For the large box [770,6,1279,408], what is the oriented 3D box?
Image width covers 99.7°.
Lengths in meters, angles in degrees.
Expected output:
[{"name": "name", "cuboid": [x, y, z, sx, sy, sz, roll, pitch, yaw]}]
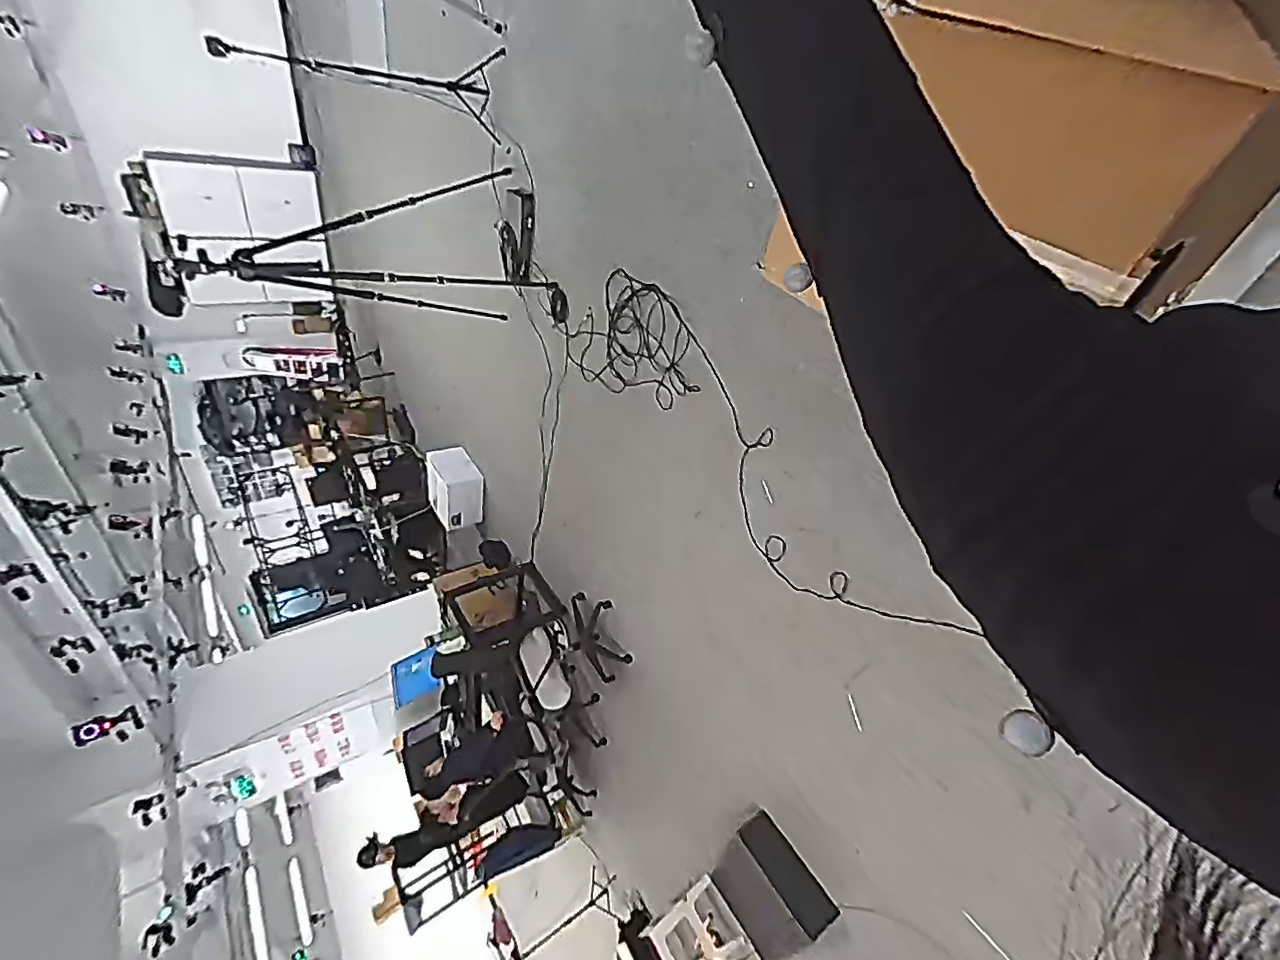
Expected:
[{"name": "large box", "cuboid": [0.450, -0.341, 0.677, 0.408, 0.320, 0.320, 49, 139, 35]}]
